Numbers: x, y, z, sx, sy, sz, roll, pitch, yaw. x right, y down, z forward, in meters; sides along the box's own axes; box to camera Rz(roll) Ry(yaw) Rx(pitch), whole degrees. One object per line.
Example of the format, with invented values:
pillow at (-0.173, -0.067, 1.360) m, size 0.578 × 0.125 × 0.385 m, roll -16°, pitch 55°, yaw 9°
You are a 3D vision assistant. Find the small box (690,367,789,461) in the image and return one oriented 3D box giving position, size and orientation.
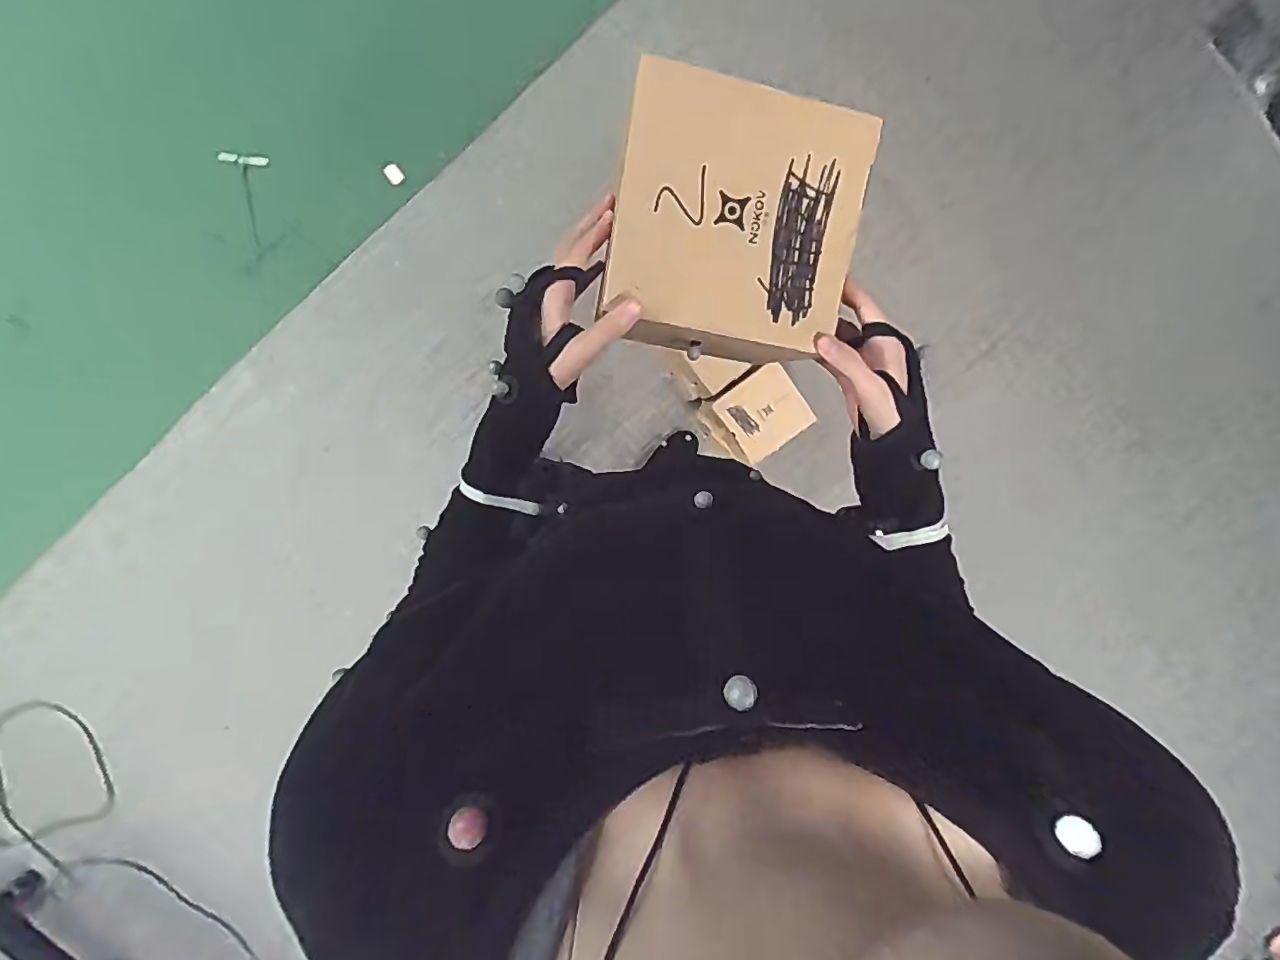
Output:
small box at (0.250, -0.175, 1.409) m, size 0.179 × 0.176 × 0.168 m, roll -43°, pitch 98°, yaw 5°
